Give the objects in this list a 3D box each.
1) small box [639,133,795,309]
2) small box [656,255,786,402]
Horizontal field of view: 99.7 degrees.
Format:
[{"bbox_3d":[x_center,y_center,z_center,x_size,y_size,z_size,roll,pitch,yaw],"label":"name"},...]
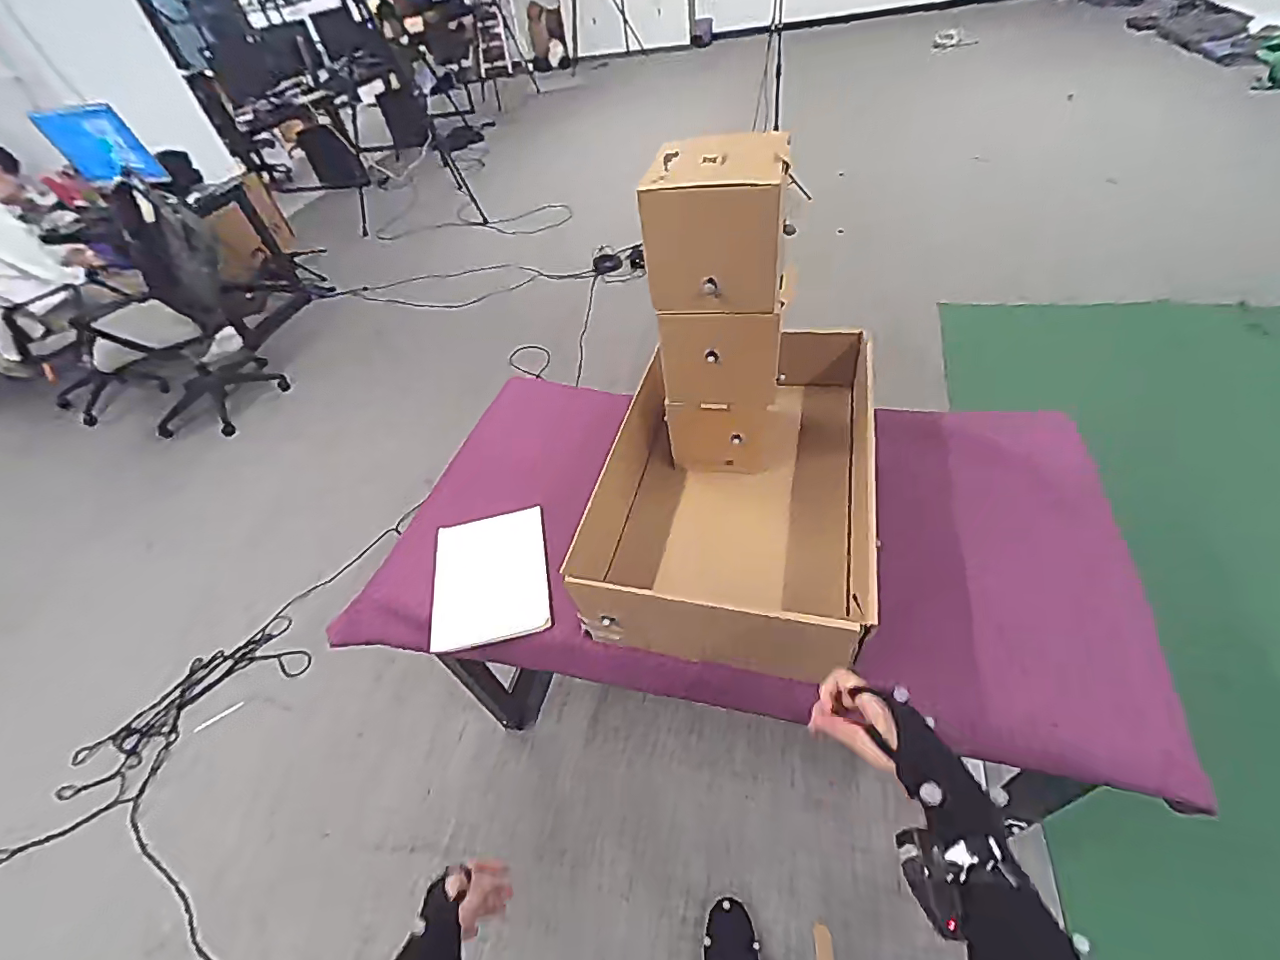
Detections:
[{"bbox_3d":[0.110,-0.351,0.744,0.179,0.176,0.168,7,50,15],"label":"small box"},{"bbox_3d":[0.134,-0.239,0.862,0.179,0.176,0.168,4,49,14],"label":"small box"}]
